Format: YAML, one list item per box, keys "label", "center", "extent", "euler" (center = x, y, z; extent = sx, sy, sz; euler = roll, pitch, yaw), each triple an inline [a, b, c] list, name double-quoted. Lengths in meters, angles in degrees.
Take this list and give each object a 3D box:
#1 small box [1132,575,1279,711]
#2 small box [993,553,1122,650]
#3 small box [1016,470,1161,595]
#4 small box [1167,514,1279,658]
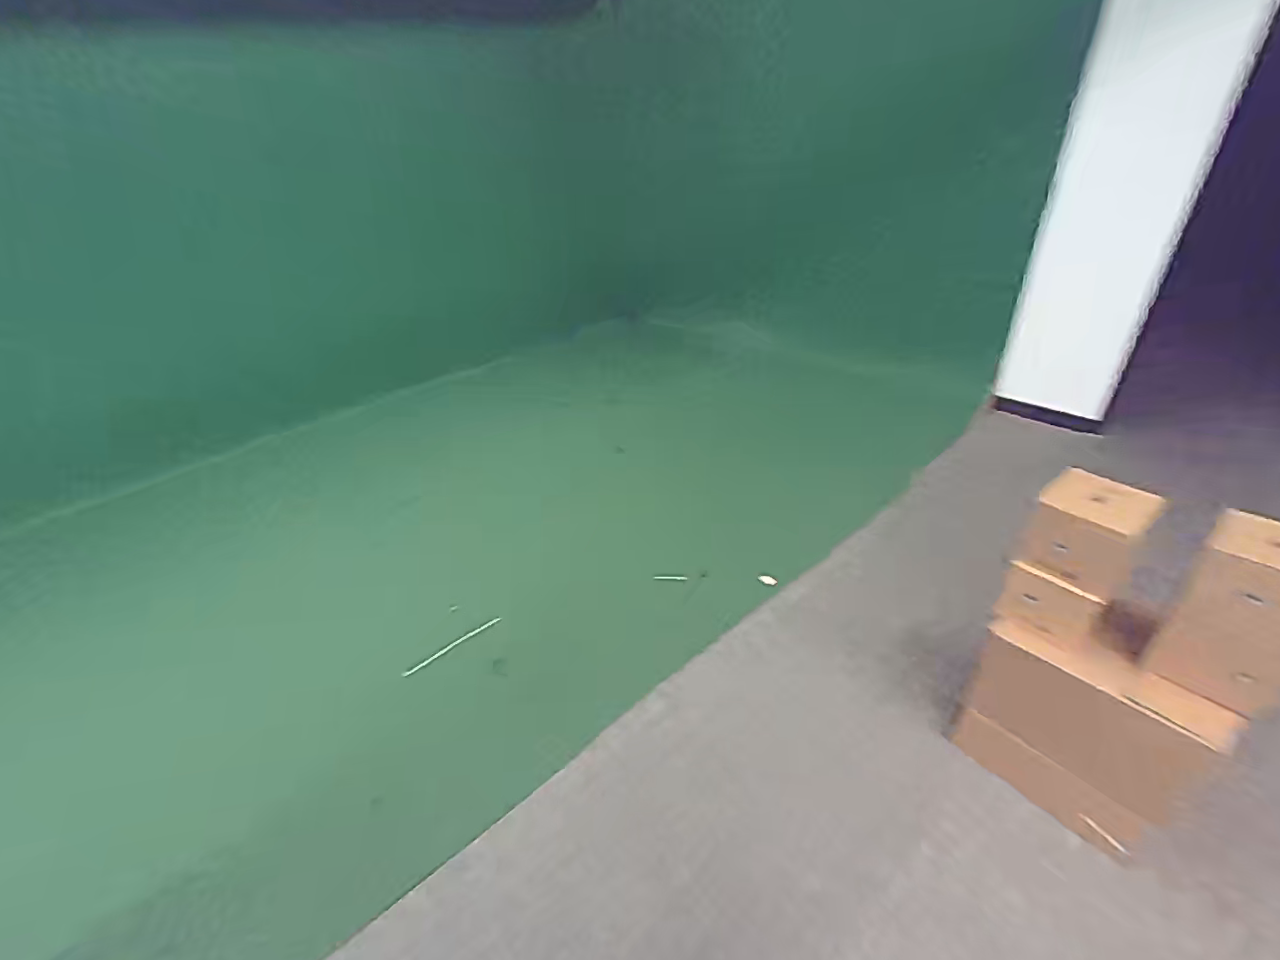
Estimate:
- label: "small box"
  center: [1.156, 0.333, 1.091]
  extent: [0.168, 0.176, 0.179]
  euler: [-29, 39, -30]
- label: "small box"
  center: [0.945, 0.252, 1.240]
  extent: [0.179, 0.176, 0.168]
  euler: [-28, 41, -28]
- label: "small box"
  center: [0.942, 0.112, 1.152]
  extent: [0.179, 0.176, 0.168]
  euler: [-26, 41, -27]
- label: "small box"
  center: [1.142, 0.198, 0.999]
  extent: [0.168, 0.176, 0.179]
  euler: [-28, 38, -29]
